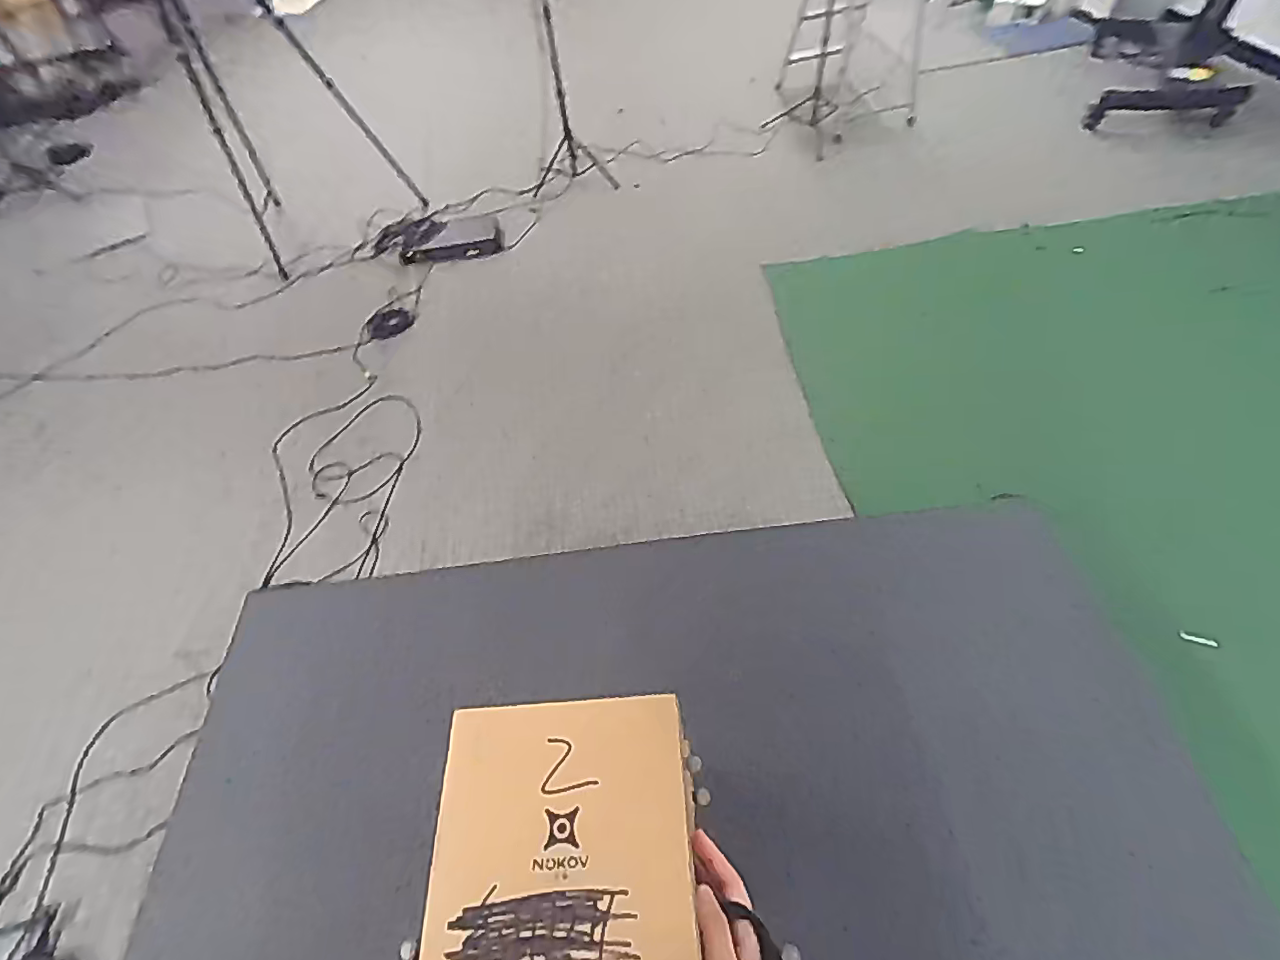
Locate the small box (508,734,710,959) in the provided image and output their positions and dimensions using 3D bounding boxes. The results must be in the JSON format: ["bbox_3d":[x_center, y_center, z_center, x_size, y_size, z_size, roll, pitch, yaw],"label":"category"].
[{"bbox_3d":[-0.021,0.368,0.544,0.168,0.176,0.179,-4,56,4],"label":"small box"}]
